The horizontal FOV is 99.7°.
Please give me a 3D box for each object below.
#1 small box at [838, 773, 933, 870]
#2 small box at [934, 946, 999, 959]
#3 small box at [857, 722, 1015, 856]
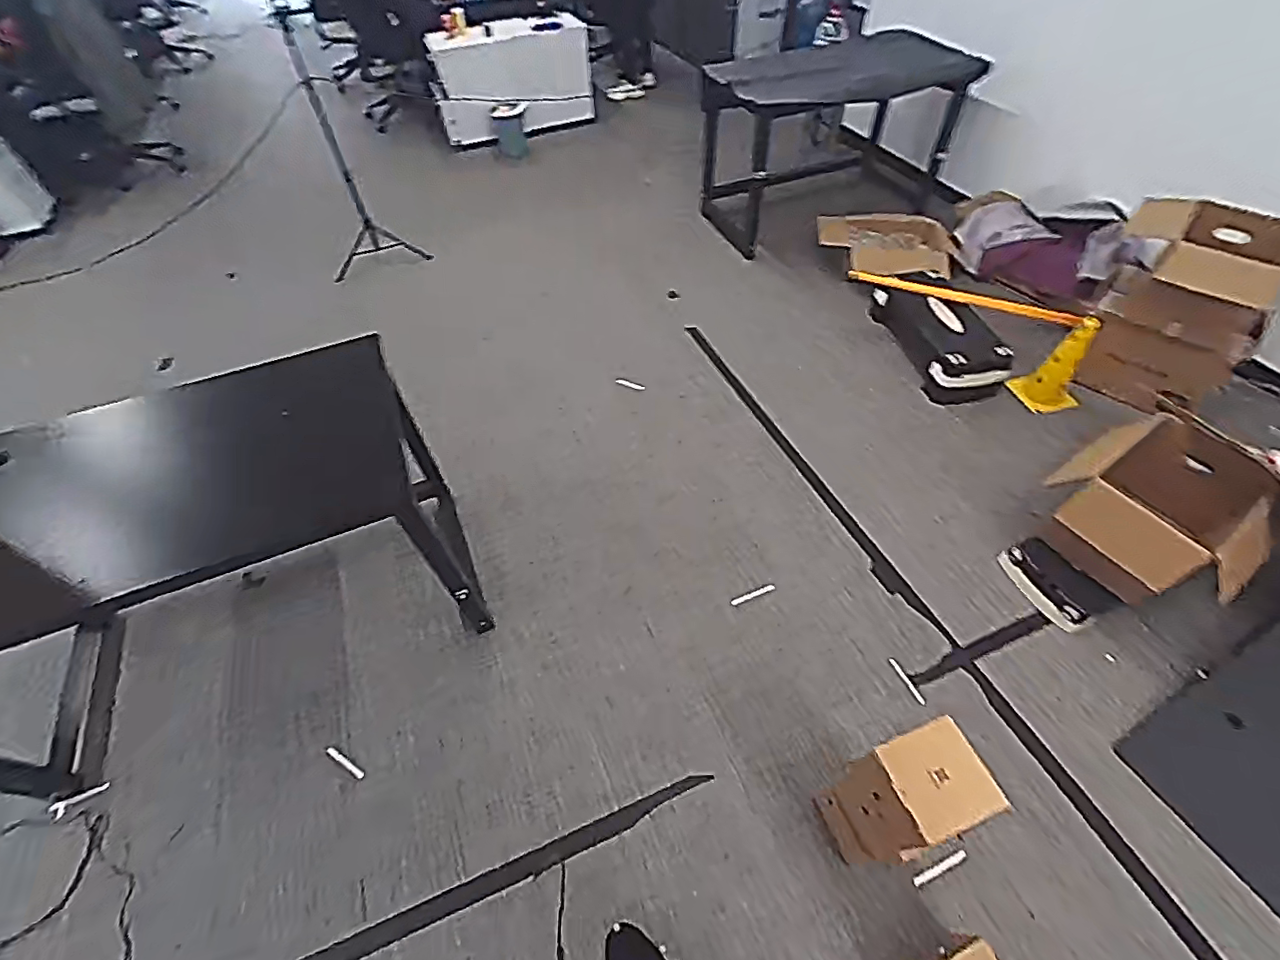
[{"bbox_3d":[0.555,0.702,1.158,0.168,0.176,0.179,-19,55,-12],"label":"small box"},{"bbox_3d":[0.660,1.070,1.079,0.179,0.176,0.168,-21,53,-12],"label":"small box"},{"bbox_3d":[0.552,0.594,1.037,0.179,0.176,0.168,-18,54,-11],"label":"small box"}]
